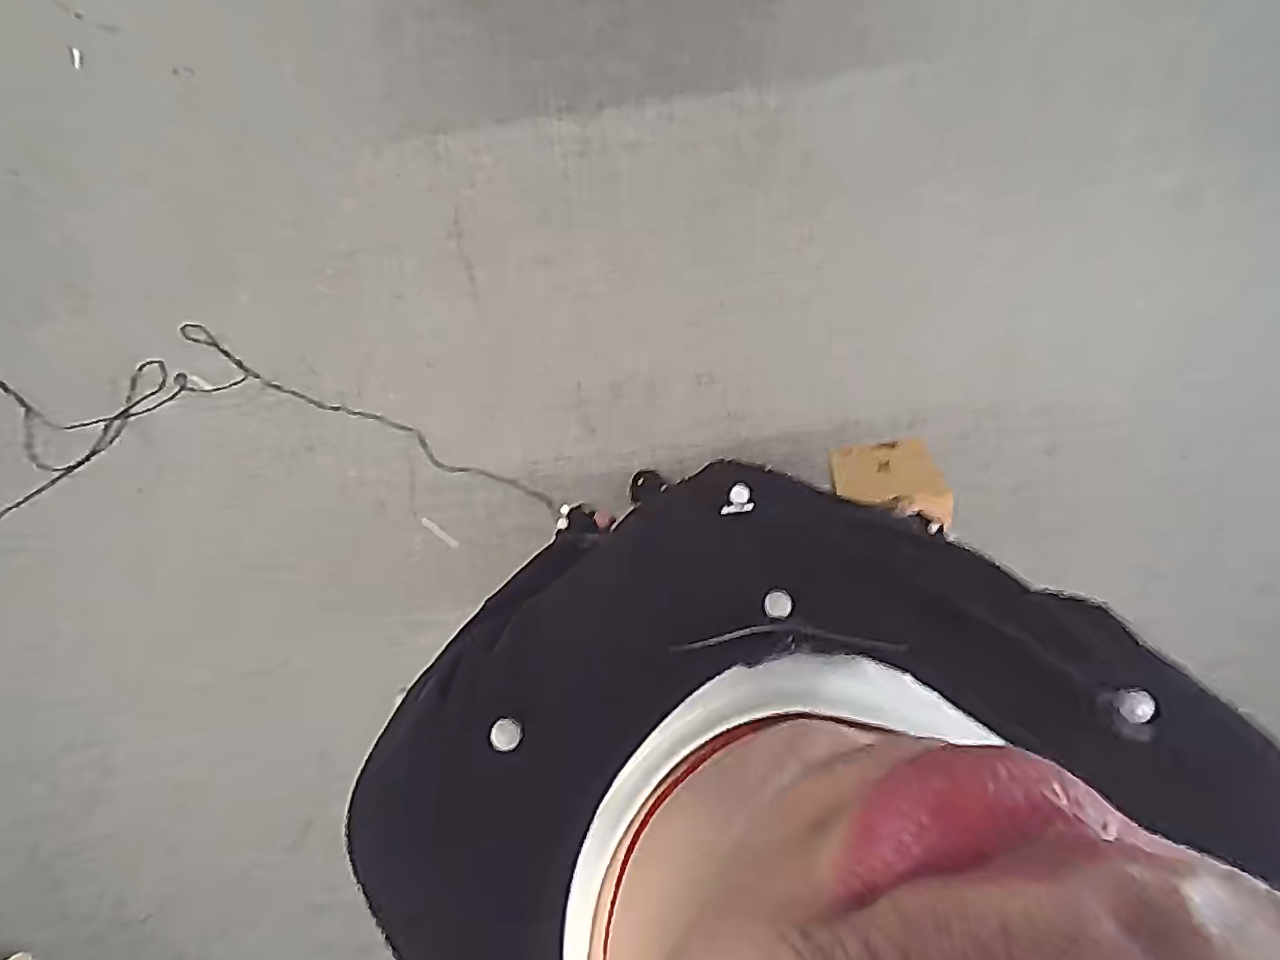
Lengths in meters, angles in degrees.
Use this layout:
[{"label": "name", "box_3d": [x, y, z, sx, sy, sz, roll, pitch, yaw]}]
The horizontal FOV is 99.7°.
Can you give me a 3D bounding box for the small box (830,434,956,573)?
[{"label": "small box", "box_3d": [0.444, 0.048, 0.955, 0.168, 0.179, 0.176, -12, 123, 16]}]
